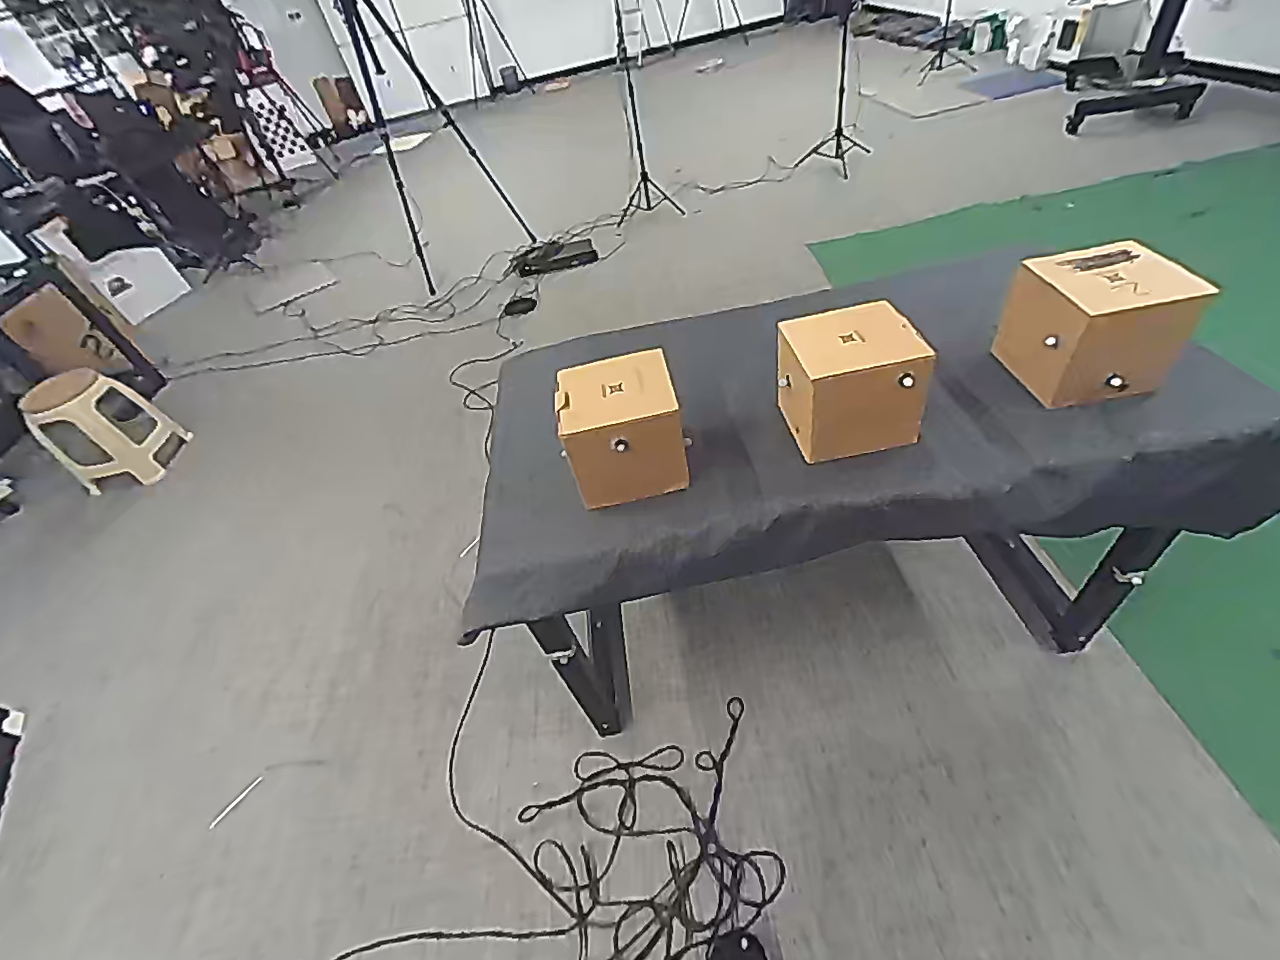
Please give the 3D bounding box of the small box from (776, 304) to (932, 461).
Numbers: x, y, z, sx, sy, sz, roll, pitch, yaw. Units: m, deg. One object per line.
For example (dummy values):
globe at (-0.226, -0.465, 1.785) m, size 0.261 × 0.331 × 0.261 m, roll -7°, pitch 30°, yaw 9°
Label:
small box at (0.321, -0.148, 0.850) m, size 0.179 × 0.176 × 0.168 m, roll -11°, pitch 44°, yaw 2°

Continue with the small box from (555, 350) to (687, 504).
small box at (-0.030, -0.080, 0.865) m, size 0.179 × 0.176 × 0.168 m, roll -11°, pitch 45°, yaw 1°
